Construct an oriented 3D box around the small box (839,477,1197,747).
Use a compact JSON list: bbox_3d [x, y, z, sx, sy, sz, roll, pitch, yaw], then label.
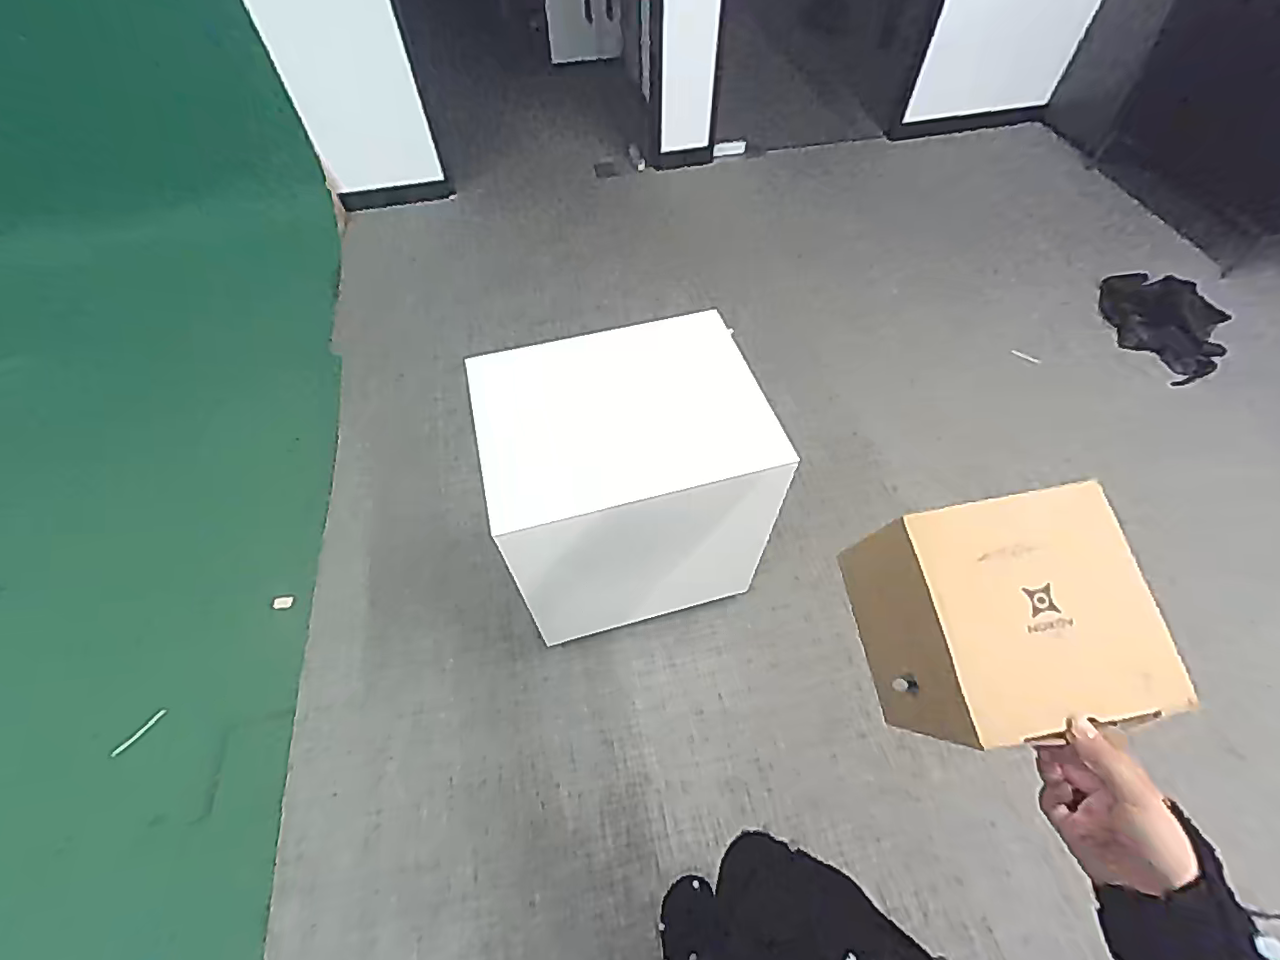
[{"bbox_3d":[0.302,0.117,0.482,0.168,0.176,0.179,-11,71,-2],"label":"small box"}]
